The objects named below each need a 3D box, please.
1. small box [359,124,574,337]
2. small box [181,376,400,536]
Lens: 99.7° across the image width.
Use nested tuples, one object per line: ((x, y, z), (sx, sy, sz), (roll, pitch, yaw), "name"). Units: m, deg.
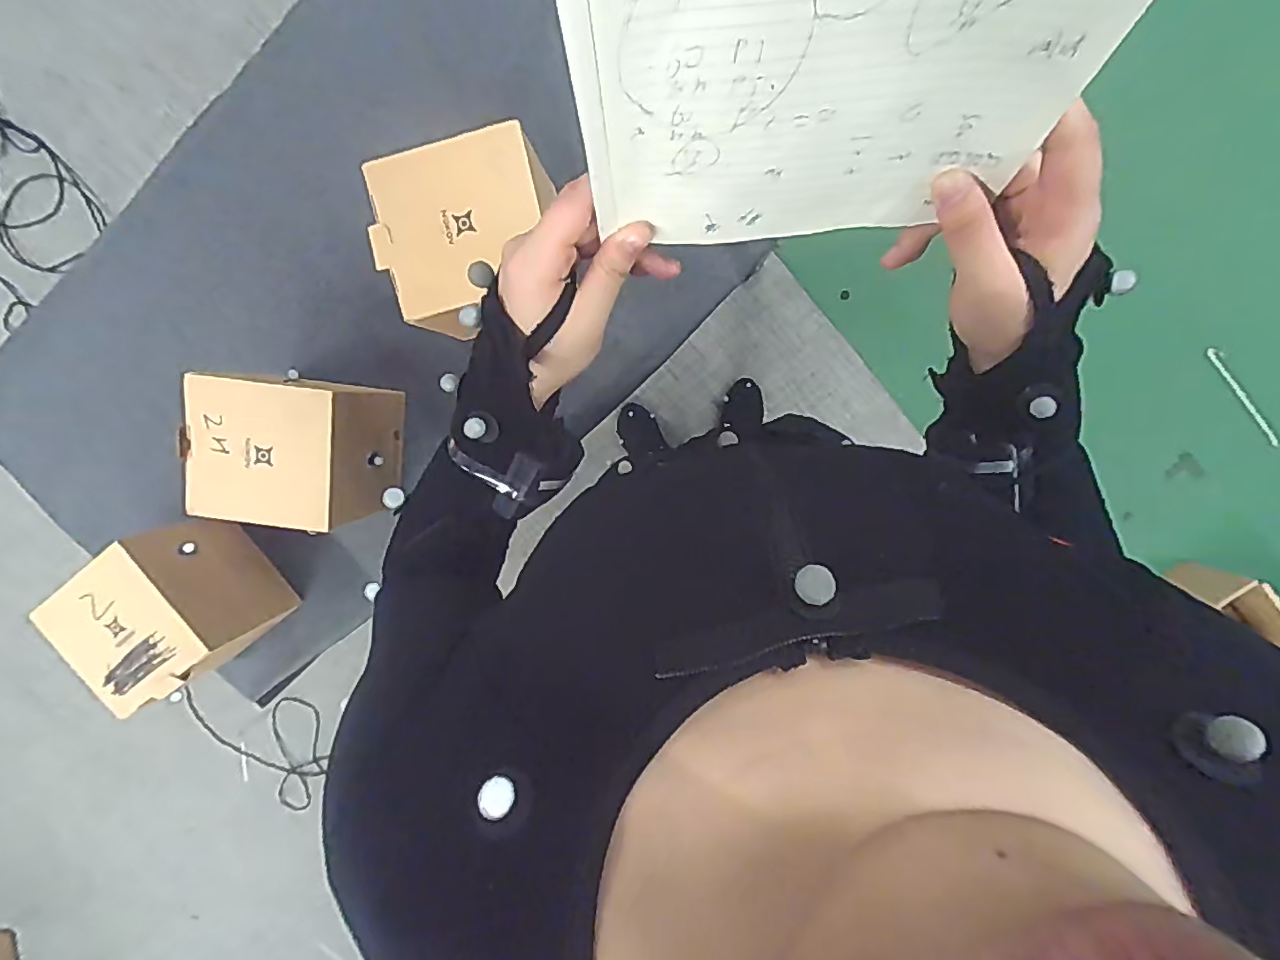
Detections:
((-0.183, -0.274, 0.637), (0.179, 0.176, 0.168), (-12, 98, 6), "small box")
((-0.429, -0.038, 0.688), (0.179, 0.176, 0.168), (7, 99, 2), "small box")
